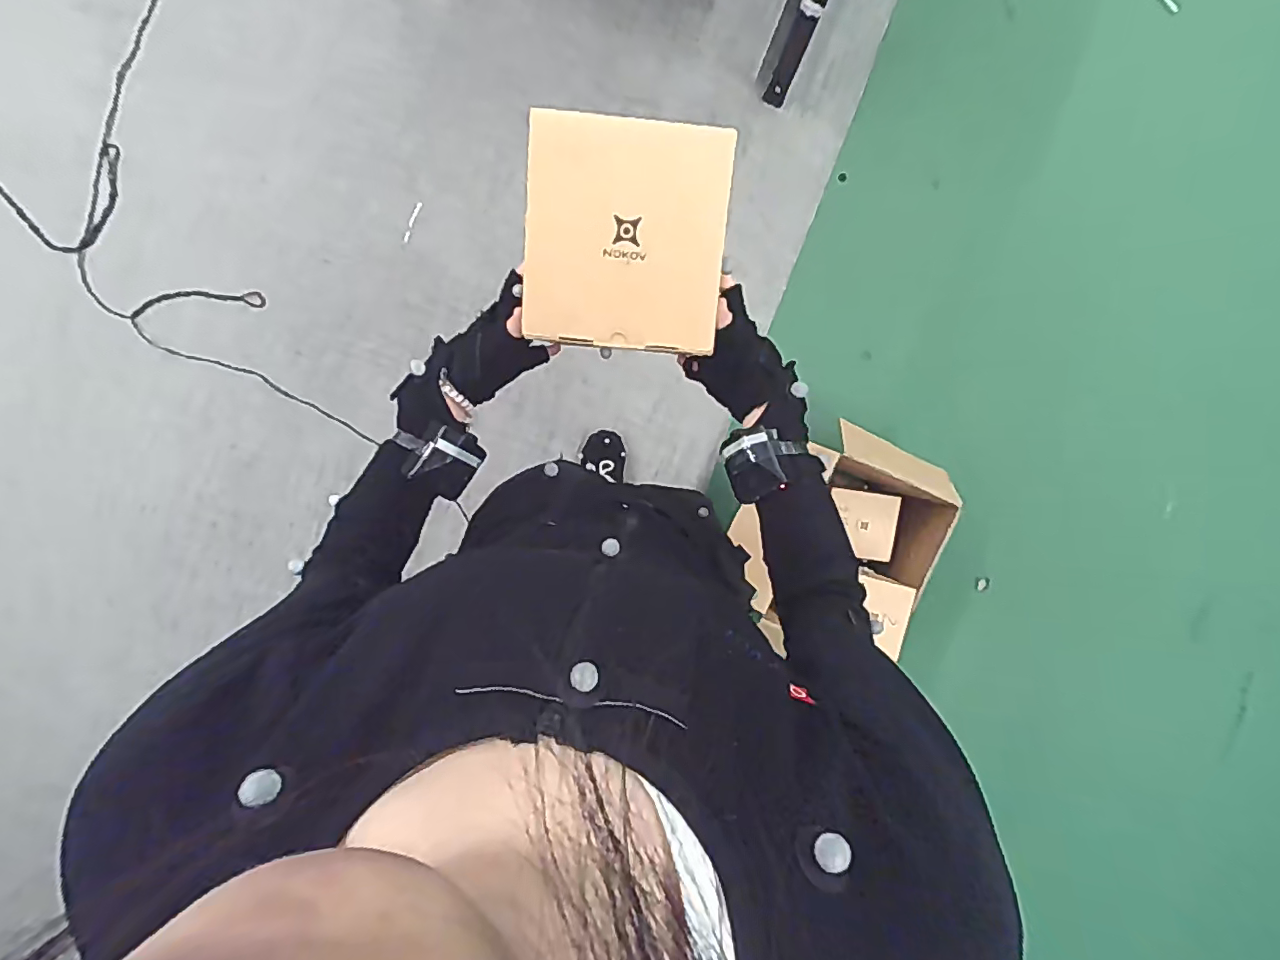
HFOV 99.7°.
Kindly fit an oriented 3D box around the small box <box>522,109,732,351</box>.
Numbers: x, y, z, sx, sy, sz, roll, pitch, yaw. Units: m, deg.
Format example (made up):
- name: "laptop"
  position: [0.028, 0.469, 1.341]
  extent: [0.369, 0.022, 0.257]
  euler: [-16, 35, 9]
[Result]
- name: "small box"
  position: [-0.018, -0.224, 0.531]
  extent: [0.168, 0.176, 0.179]
  euler: [4, 105, -4]
